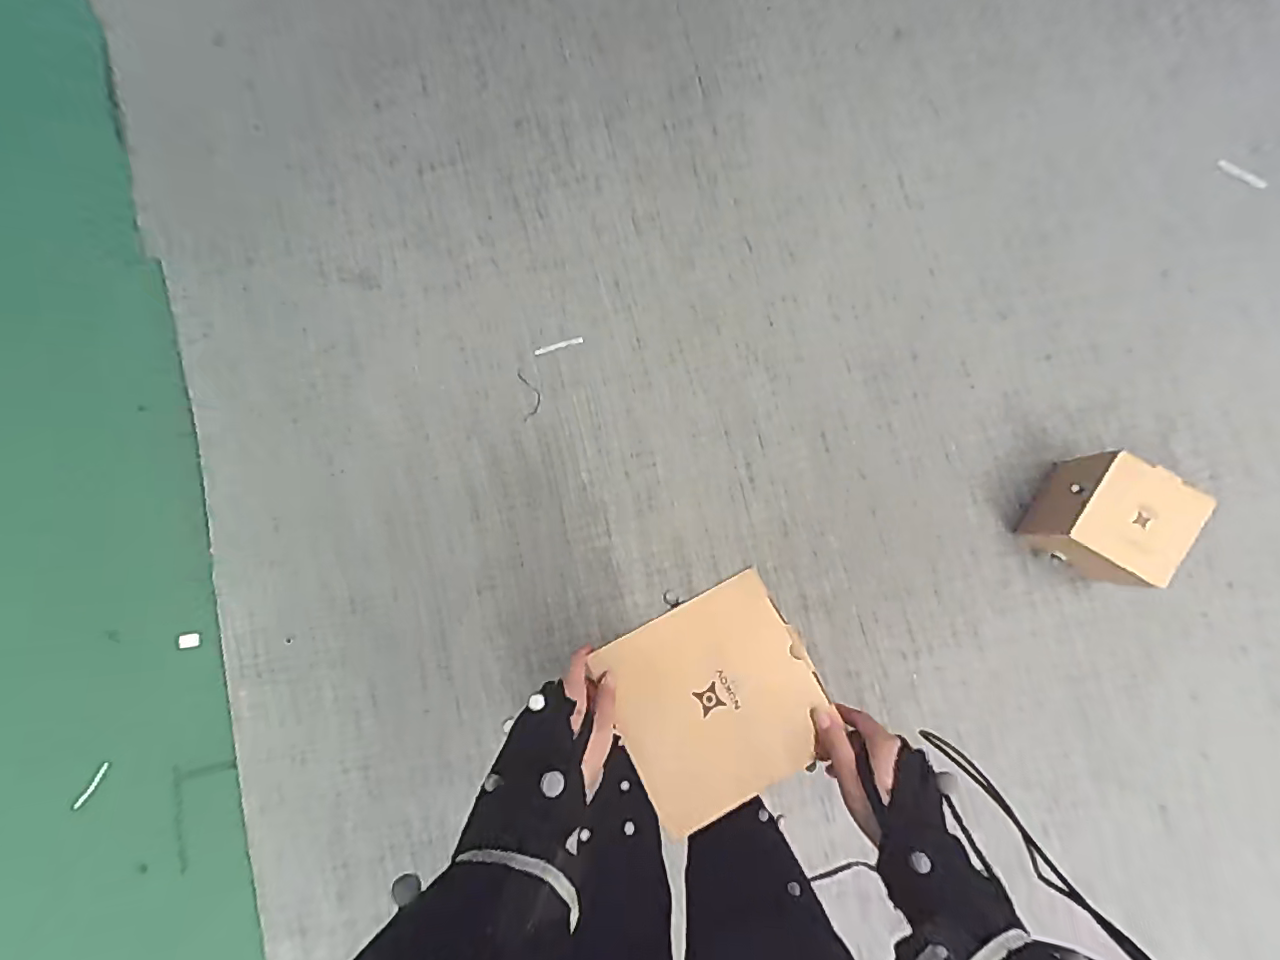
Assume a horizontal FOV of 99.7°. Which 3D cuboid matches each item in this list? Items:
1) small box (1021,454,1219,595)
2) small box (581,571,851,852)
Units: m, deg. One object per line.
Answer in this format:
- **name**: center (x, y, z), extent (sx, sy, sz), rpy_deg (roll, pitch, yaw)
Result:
- **small box**: center (0.828, 0.078, 0.956), extent (0.168, 0.176, 0.179), rpy_deg (32, 88, 9)
- **small box**: center (0.065, 0.211, 0.528), extent (0.179, 0.176, 0.168), rpy_deg (-27, 74, -5)
